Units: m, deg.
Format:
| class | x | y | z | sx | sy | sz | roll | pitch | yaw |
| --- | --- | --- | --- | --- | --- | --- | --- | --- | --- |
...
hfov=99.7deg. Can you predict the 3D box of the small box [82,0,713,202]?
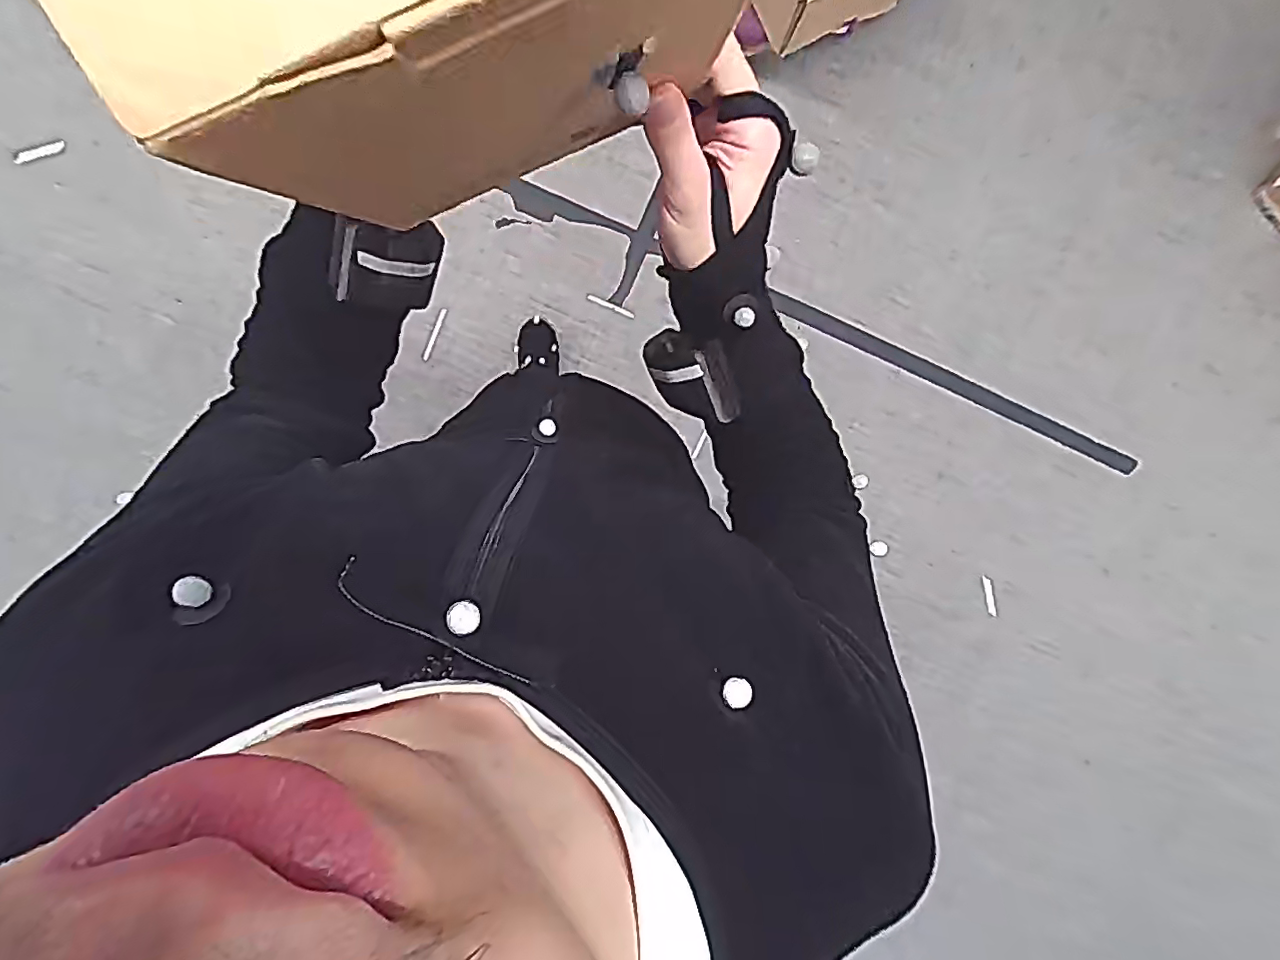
| class | x | y | z | sx | sy | sz | roll | pitch | yaw |
| --- | --- | --- | --- | --- | --- | --- | --- | --- | --- |
| small box | -0.075 | -0.211 | 0.174 | 0.168 | 0.176 | 0.179 | -22 | 109 | 3 |
